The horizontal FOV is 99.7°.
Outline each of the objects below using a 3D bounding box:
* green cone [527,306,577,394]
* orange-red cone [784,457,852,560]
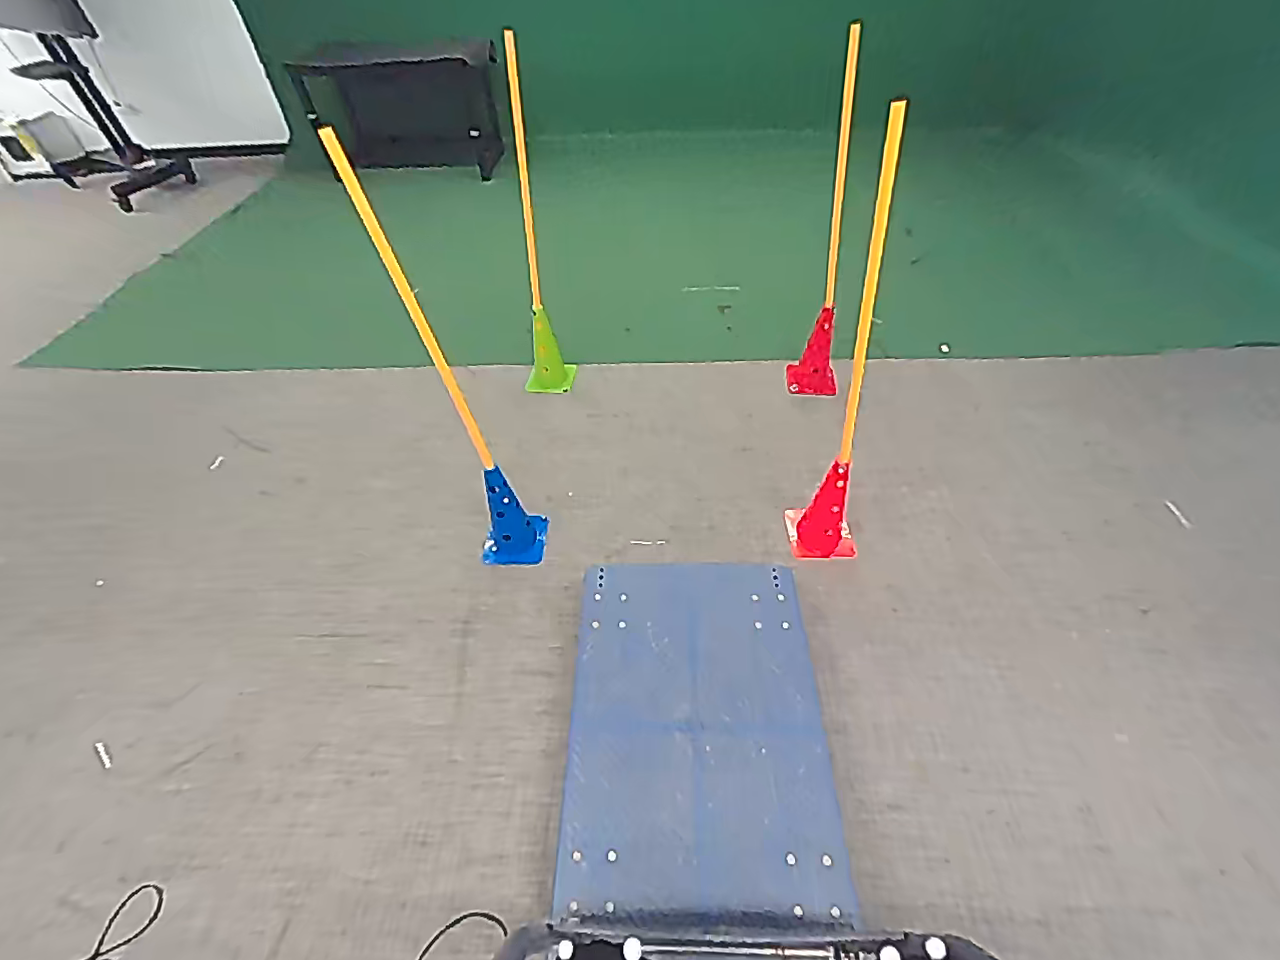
[{"bbox_3d":[-0.401,-0.565,2.293,0.202,0.368,0.200,3,48,6],"label":"green cone"},{"bbox_3d":[0.580,0.067,1.677,0.199,0.360,0.198,-2,47,4],"label":"orange-red cone"}]
